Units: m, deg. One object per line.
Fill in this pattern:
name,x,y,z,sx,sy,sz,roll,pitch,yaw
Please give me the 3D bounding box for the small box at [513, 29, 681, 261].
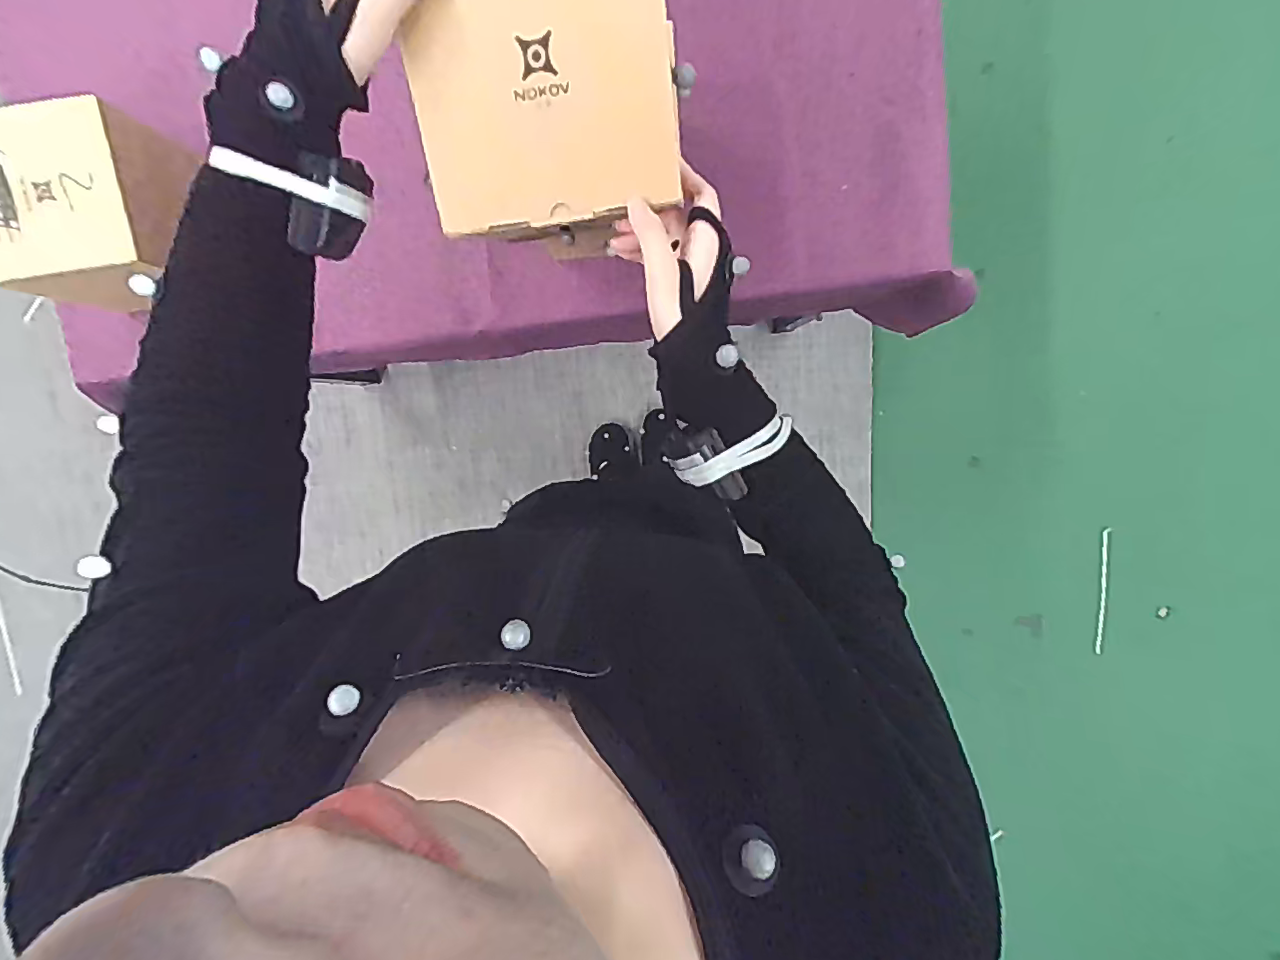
small box,-0.043,-0.370,0.628,0.168,0.176,0.179,-4,99,1
